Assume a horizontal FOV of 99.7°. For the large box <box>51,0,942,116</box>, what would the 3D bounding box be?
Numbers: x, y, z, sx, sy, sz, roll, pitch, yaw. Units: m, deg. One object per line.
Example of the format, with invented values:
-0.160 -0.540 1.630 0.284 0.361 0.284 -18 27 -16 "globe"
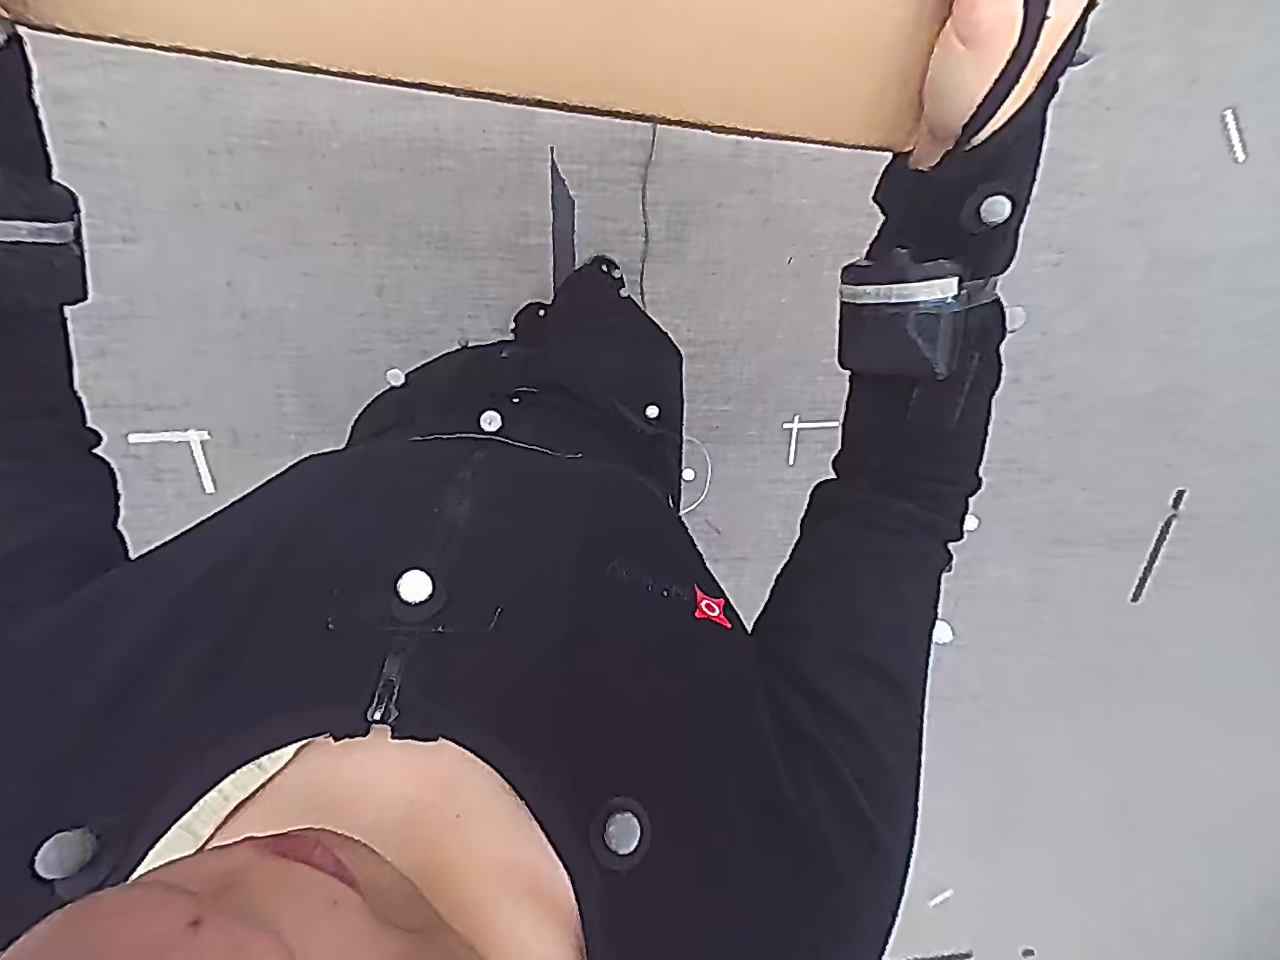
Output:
-0.057 -0.401 0.288 0.408 0.320 0.320 4 125 -7 "large box"
